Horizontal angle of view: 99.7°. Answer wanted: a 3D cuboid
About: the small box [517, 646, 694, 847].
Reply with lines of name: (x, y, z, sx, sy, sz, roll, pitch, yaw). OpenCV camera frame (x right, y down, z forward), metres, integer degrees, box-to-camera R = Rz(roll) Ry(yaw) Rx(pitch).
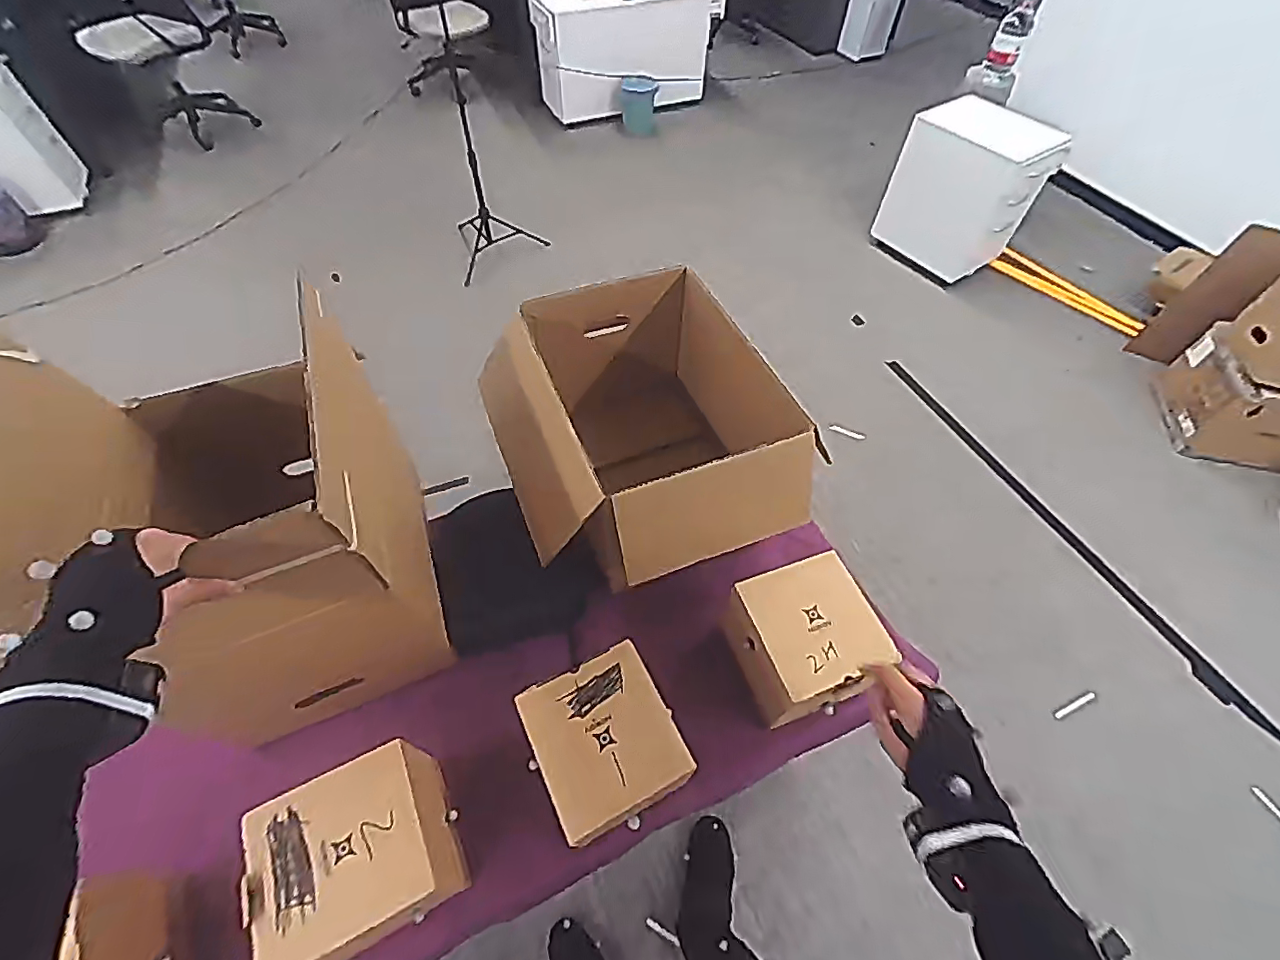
small box: (-0.048, 0.355, 0.715, 0.168, 0.176, 0.179, -22, 59, -15)

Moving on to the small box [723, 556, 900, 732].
small box: (0.235, 0.245, 0.798, 0.168, 0.176, 0.179, -16, 56, -11)
